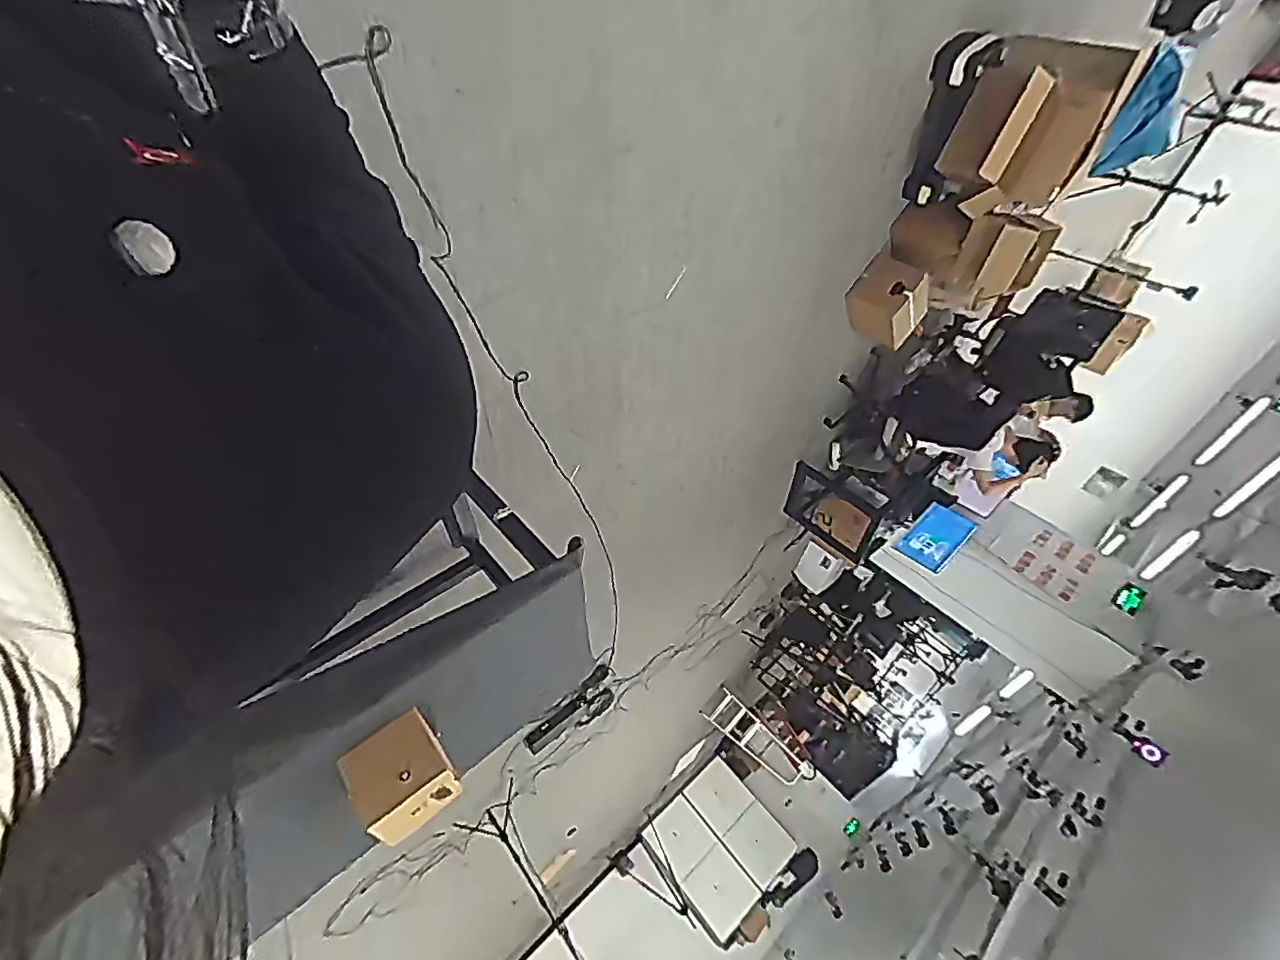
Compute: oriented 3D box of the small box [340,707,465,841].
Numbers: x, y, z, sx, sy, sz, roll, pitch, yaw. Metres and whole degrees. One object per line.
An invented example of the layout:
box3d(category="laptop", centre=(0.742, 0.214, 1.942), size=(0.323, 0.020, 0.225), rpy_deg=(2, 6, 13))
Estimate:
box3d(category="small box", centre=(-0.517, 0.638, 1.187), size=(0.179, 0.176, 0.168), rpy_deg=(-32, 145, -27))
